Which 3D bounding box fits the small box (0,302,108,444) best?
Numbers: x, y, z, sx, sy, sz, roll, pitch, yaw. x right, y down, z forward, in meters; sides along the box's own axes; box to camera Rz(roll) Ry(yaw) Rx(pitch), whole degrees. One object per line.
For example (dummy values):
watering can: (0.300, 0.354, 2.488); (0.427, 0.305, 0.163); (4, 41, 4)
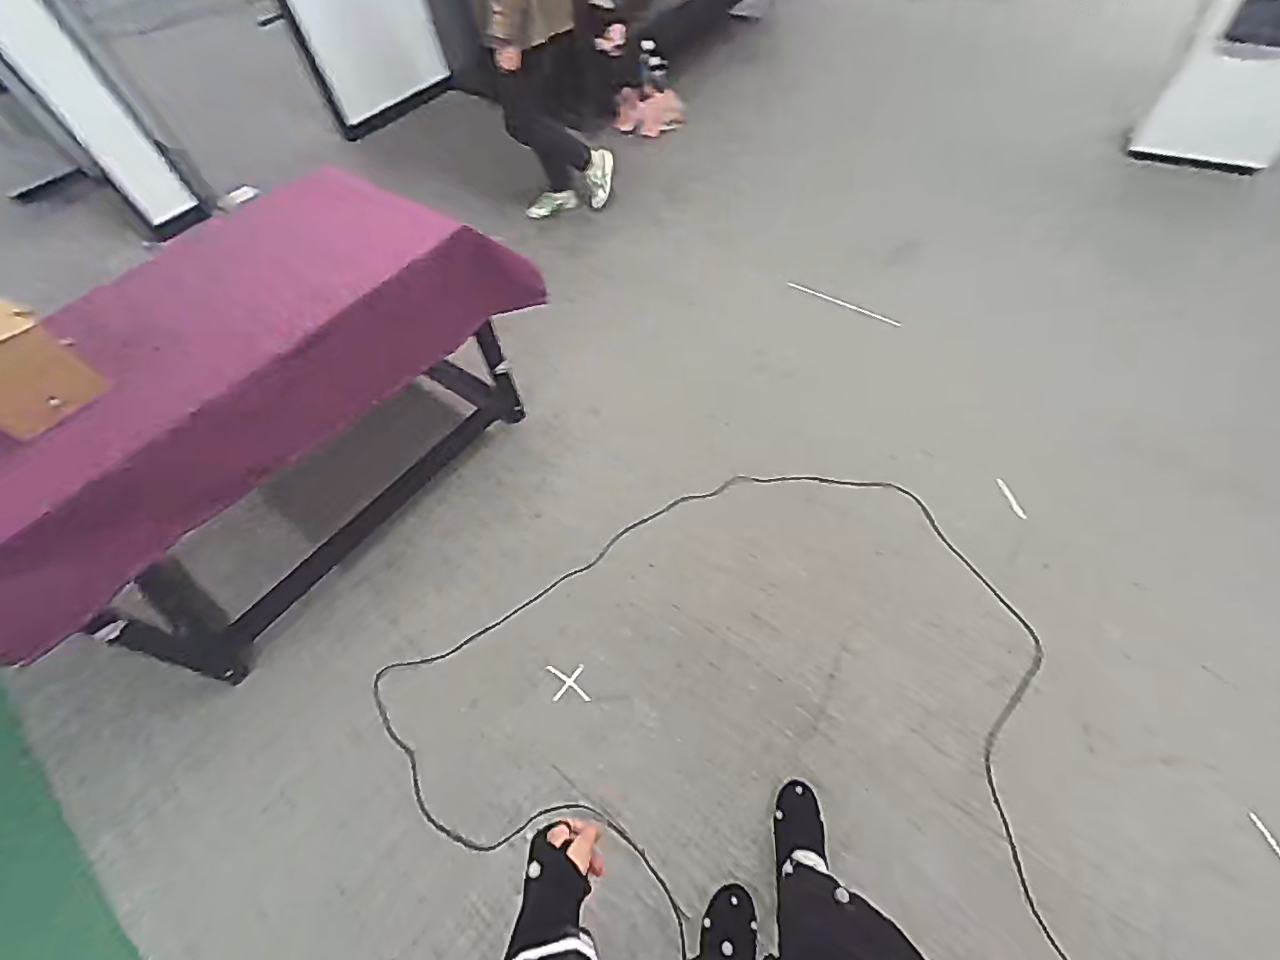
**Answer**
small box: (-1.204, -0.205, 1.050); (0.168, 0.176, 0.179); (29, 63, 22)
